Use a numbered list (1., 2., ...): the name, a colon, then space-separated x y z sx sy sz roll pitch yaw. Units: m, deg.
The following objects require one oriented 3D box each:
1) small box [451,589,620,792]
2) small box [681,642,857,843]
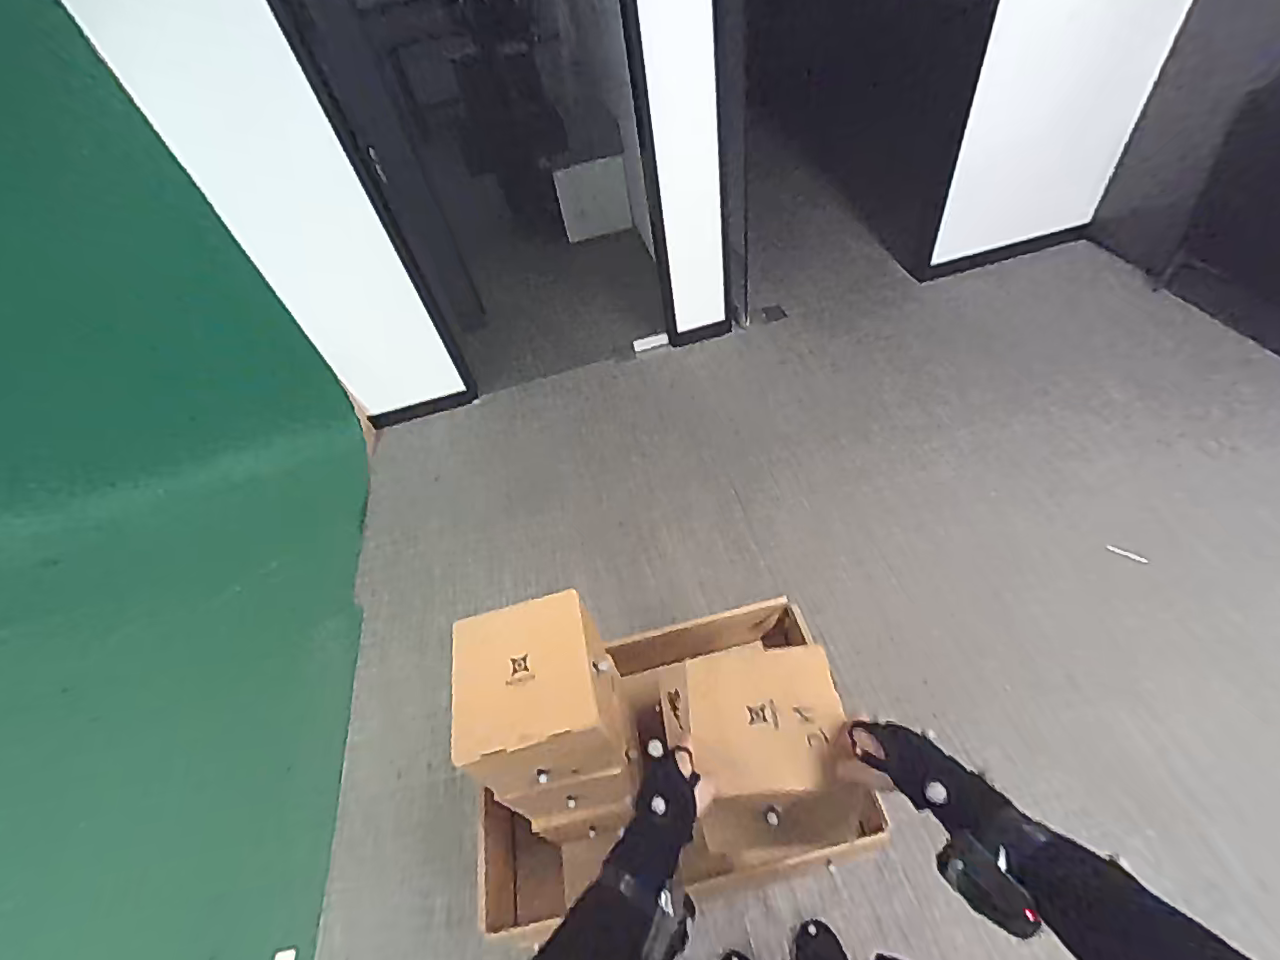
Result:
1. small box: -0.130 0.274 0.700 0.168 0.176 0.179 -15 48 -2
2. small box: 0.151 0.324 0.663 0.179 0.176 0.168 -7 39 7
